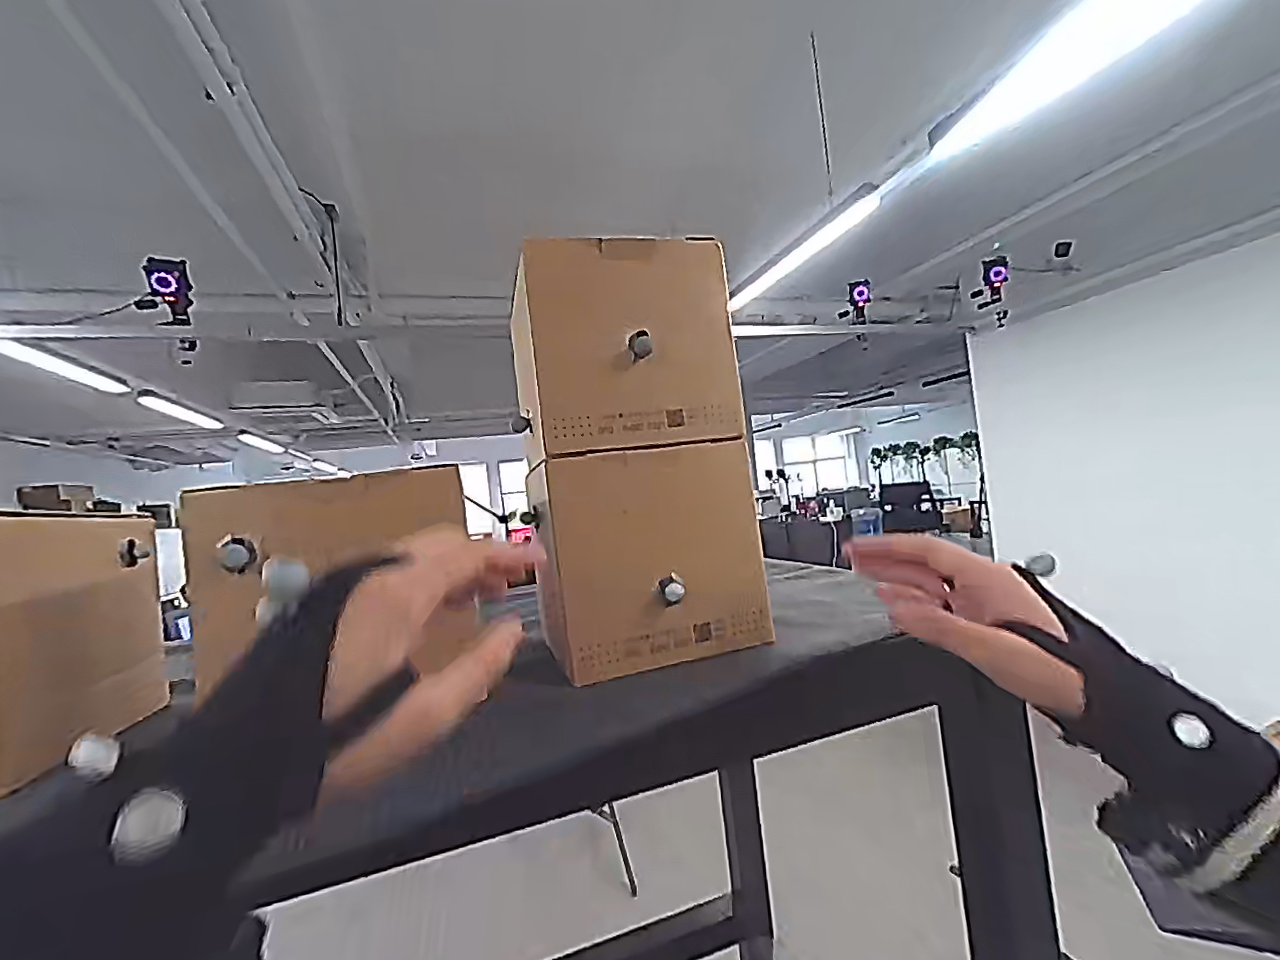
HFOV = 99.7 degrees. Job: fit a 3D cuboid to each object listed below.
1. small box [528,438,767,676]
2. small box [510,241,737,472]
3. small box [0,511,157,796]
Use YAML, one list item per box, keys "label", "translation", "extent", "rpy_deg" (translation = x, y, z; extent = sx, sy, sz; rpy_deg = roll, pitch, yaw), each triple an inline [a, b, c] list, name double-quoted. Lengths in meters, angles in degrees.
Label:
- label: "small box"
  translation: [-0.005, 0.064, 0.492]
  extent: [0.168, 0.176, 0.179]
  rpy_deg: [-7, -2, -17]
- label: "small box"
  translation: [-0.024, -0.099, 0.500]
  extent: [0.168, 0.176, 0.179]
  rpy_deg: [-6, -2, -17]
- label: "small box"
  translation: [-0.465, 0.117, 0.360]
  extent: [0.168, 0.176, 0.179]
  rpy_deg: [-6, -3, -16]
